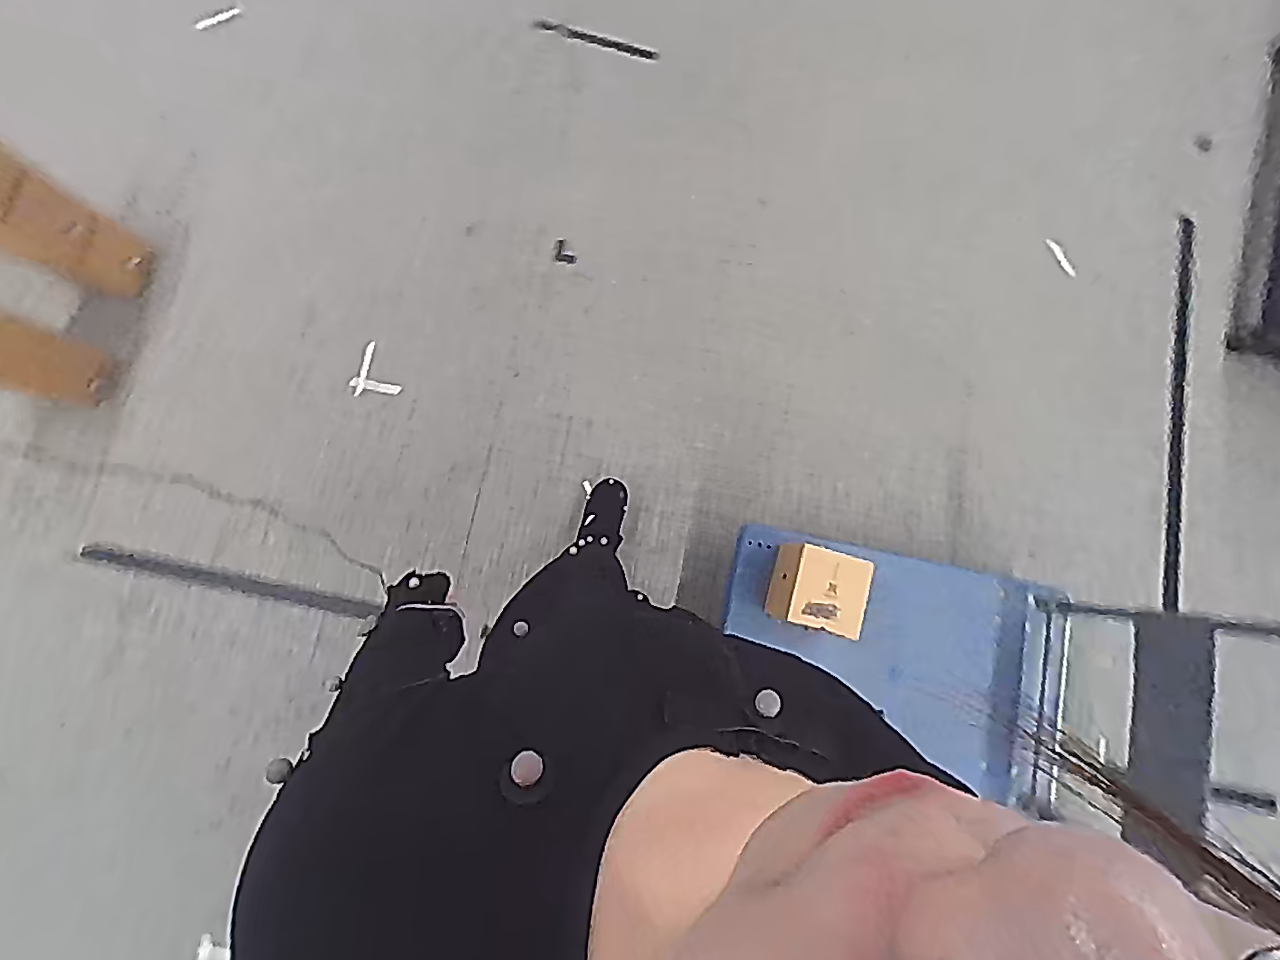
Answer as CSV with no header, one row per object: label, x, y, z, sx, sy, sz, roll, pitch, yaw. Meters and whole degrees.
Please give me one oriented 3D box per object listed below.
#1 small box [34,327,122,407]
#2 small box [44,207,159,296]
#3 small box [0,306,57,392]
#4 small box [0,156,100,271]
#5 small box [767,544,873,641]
small box,-1.517,-0.300,1.393,0.179,0.176,0.168,14,82,-3
small box,-1.453,-0.611,1.437,0.179,0.176,0.168,11,82,-3
small box,-1.508,-0.313,1.232,0.168,0.176,0.179,10,82,-2
small box,-1.446,-0.628,1.274,0.168,0.176,0.179,10,81,-2
small box,0.410,0.257,1.265,0.168,0.176,0.179,17,81,-2
